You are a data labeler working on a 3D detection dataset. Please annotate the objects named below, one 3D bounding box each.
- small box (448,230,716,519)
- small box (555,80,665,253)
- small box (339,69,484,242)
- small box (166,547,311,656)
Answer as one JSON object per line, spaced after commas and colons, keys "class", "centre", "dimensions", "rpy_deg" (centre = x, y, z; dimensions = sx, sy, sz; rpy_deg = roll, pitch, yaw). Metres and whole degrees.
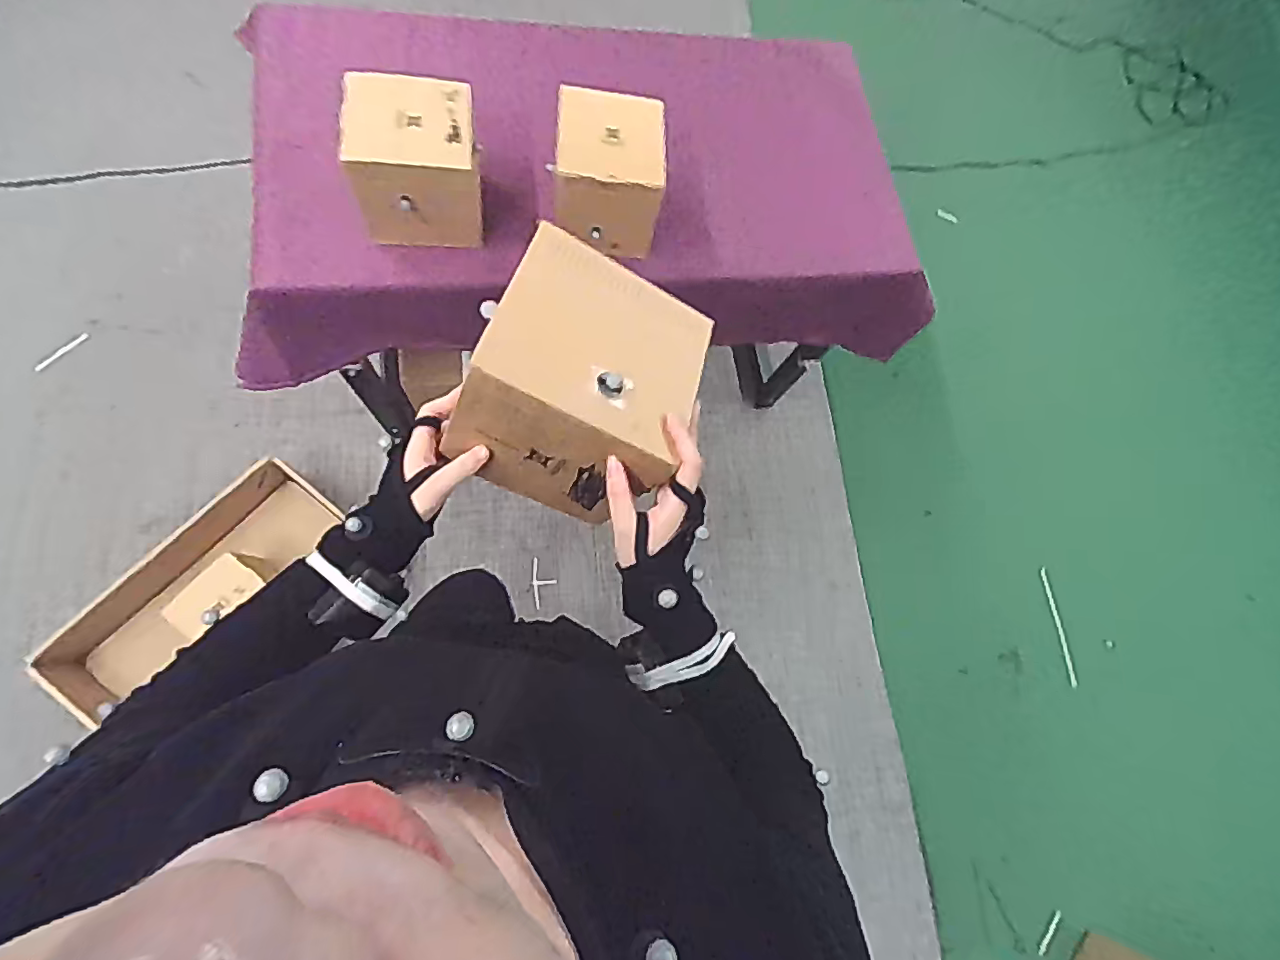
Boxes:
{"class": "small box", "centre": [-0.051, -0.089, 0.504], "dimensions": [0.179, 0.168, 0.176], "rpy_deg": [26, 60, -18]}
{"class": "small box", "centre": [-0.056, -0.518, 0.912], "dimensions": [0.168, 0.176, 0.179], "rpy_deg": [2, 75, -10]}
{"class": "small box", "centre": [-0.347, -0.499, 0.852], "dimensions": [0.179, 0.176, 0.168], "rpy_deg": [-3, 76, -10]}
{"class": "small box", "centre": [-0.912, 0.280, 1.251], "dimensions": [0.168, 0.176, 0.179], "rpy_deg": [40, 73, 1]}
